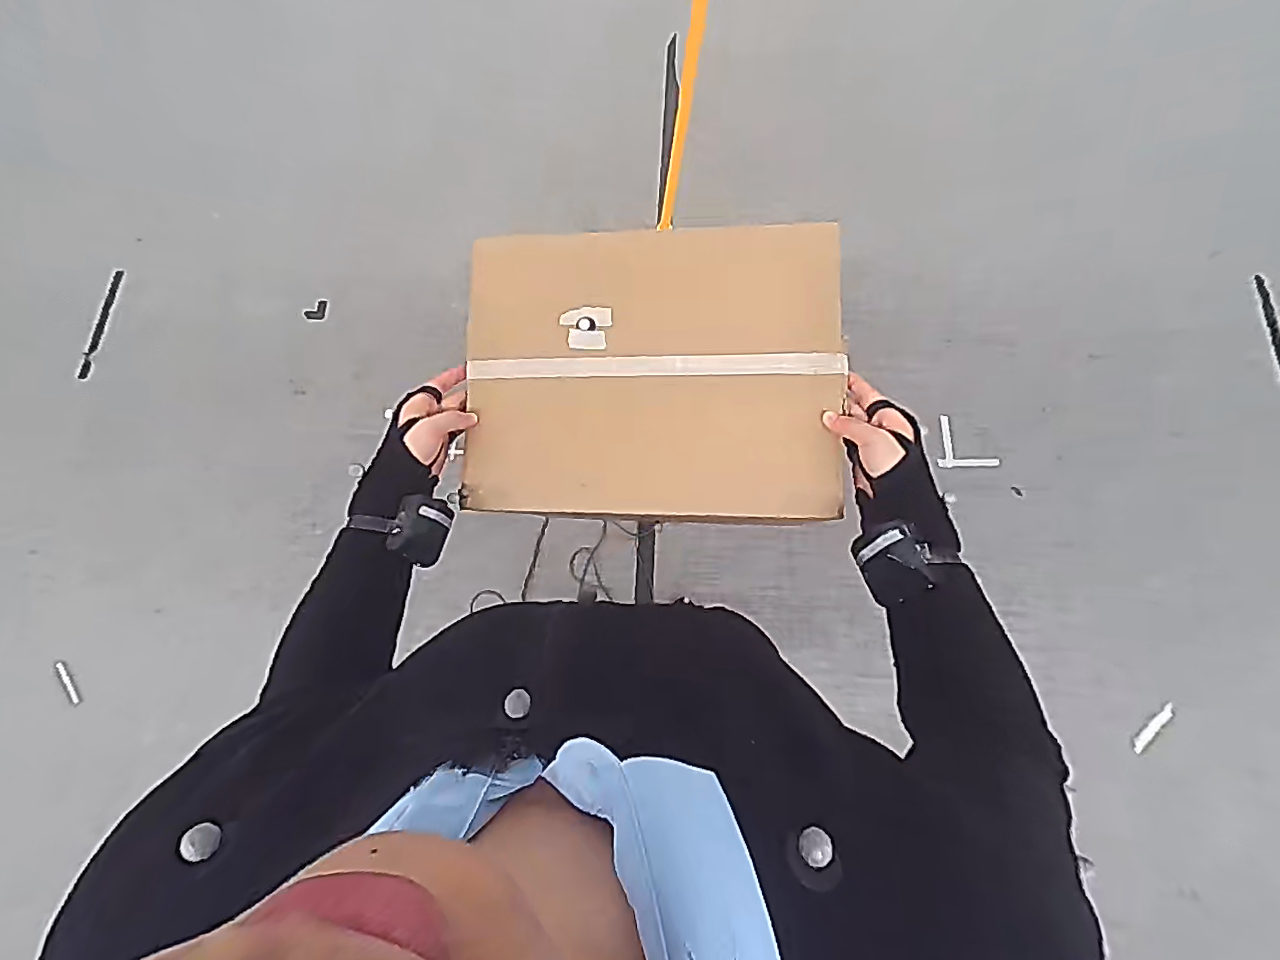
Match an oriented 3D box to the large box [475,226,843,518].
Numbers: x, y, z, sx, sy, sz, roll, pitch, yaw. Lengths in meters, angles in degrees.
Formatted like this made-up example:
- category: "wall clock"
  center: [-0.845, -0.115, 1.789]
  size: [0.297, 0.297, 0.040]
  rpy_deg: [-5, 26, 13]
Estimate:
- category: "large box"
  center: [0.033, -0.105, 0.740]
  size: [0.408, 0.320, 0.320]
  rpy_deg: [0, 83, 8]
